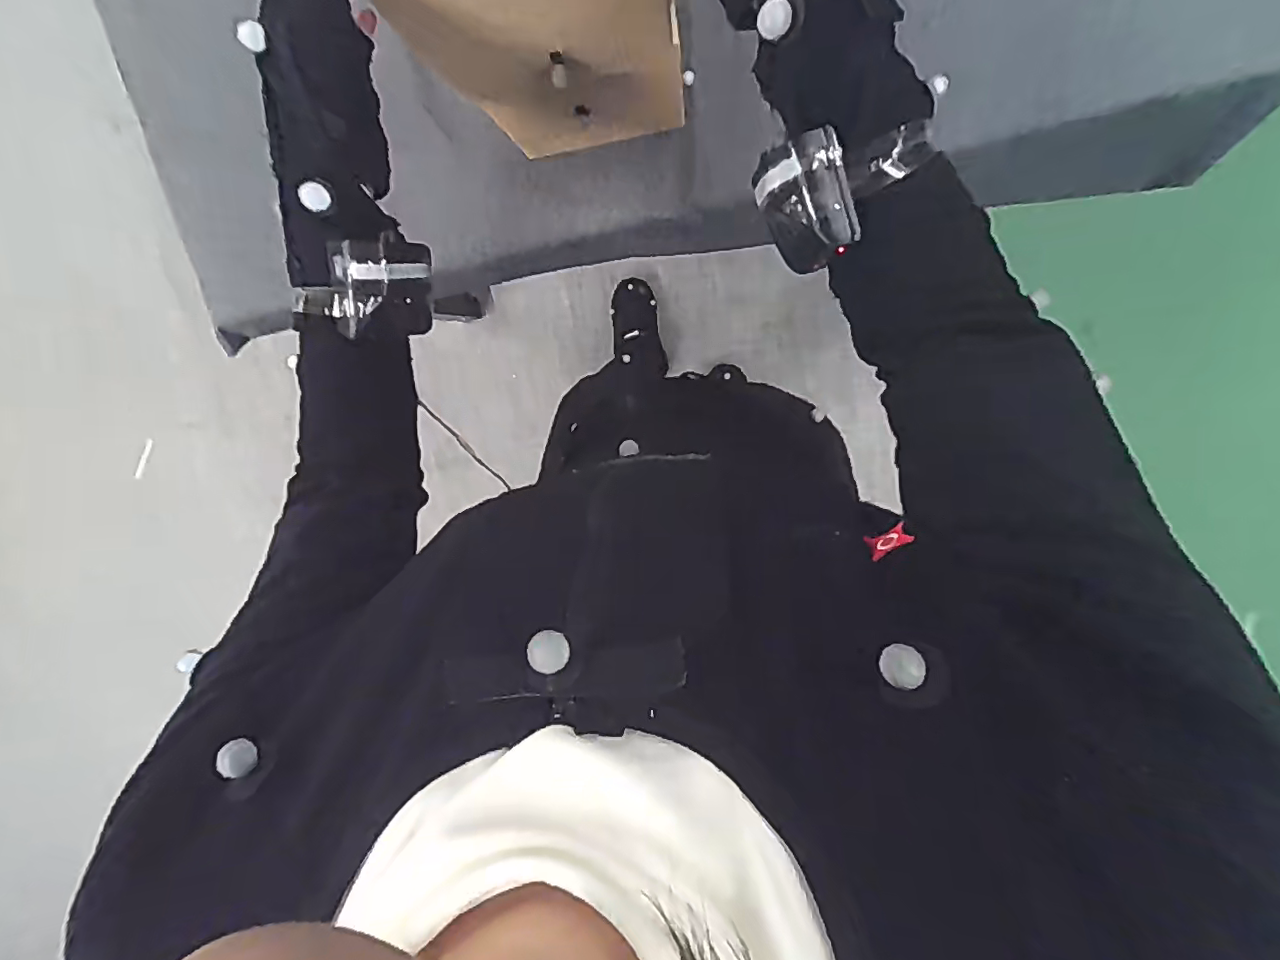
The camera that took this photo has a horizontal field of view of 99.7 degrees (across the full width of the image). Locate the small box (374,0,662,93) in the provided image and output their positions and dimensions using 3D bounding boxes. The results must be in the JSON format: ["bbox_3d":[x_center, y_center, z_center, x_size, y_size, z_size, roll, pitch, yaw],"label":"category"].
[{"bbox_3d":[-0.080,-0.381,0.338,0.179,0.176,0.168,-6,103,6],"label":"small box"}]

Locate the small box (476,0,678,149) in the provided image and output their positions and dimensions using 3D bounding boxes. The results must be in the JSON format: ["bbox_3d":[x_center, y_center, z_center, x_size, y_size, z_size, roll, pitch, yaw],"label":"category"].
[{"bbox_3d":[-0.060,-0.431,0.494,0.179,0.176,0.168,-7,103,8],"label":"small box"}]
